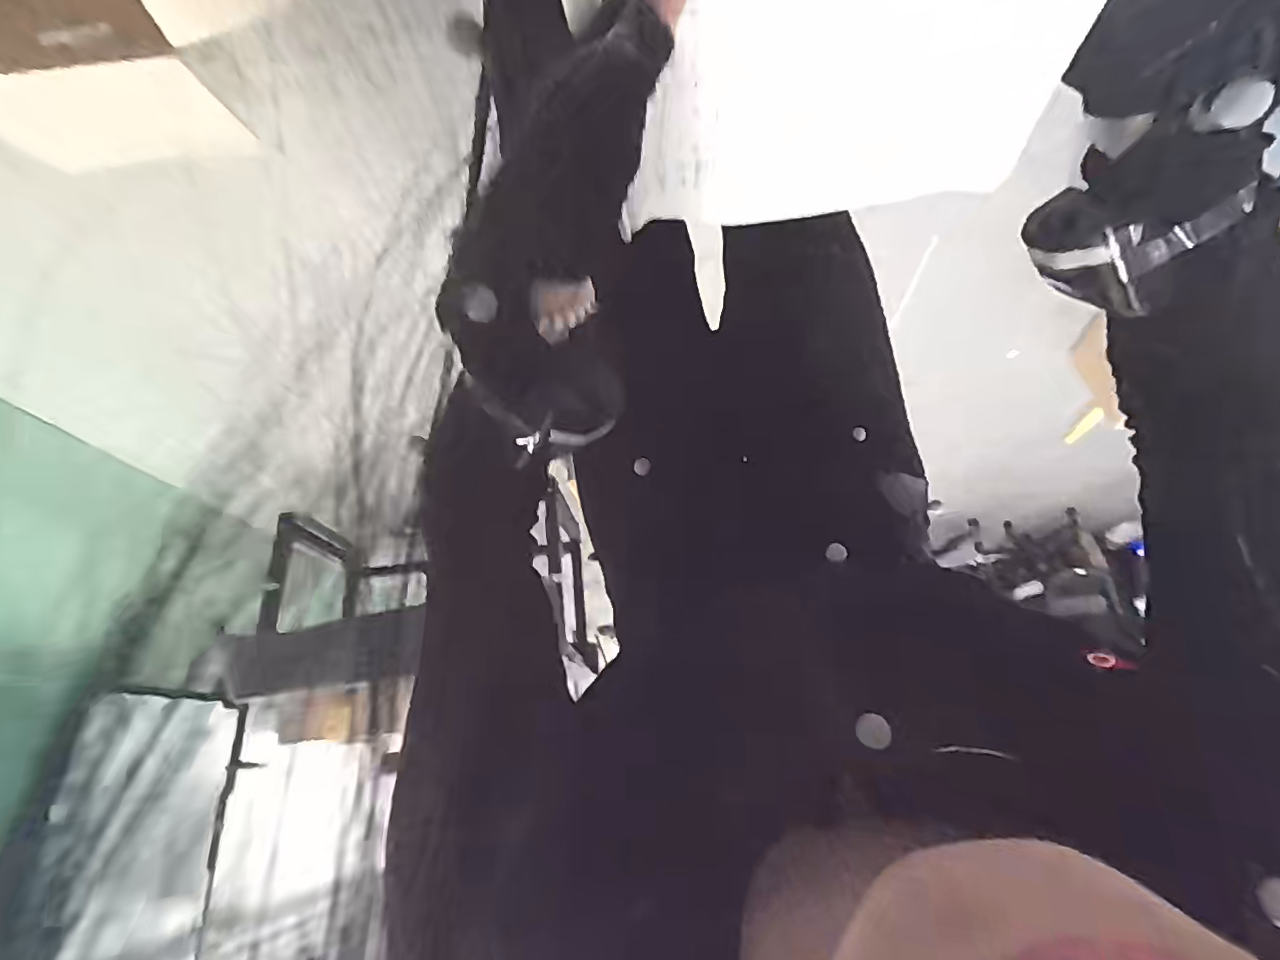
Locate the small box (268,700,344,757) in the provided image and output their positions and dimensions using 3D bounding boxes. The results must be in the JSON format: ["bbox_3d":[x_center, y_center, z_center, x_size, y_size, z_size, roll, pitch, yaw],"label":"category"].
[{"bbox_3d":[-1.203,0.903,1.963,0.168,0.176,0.179,-7,153,-2],"label":"small box"}]

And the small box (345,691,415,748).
[{"bbox_3d":[-0.943,0.877,1.978,0.179,0.176,0.168,-9,153,3],"label":"small box"}]
